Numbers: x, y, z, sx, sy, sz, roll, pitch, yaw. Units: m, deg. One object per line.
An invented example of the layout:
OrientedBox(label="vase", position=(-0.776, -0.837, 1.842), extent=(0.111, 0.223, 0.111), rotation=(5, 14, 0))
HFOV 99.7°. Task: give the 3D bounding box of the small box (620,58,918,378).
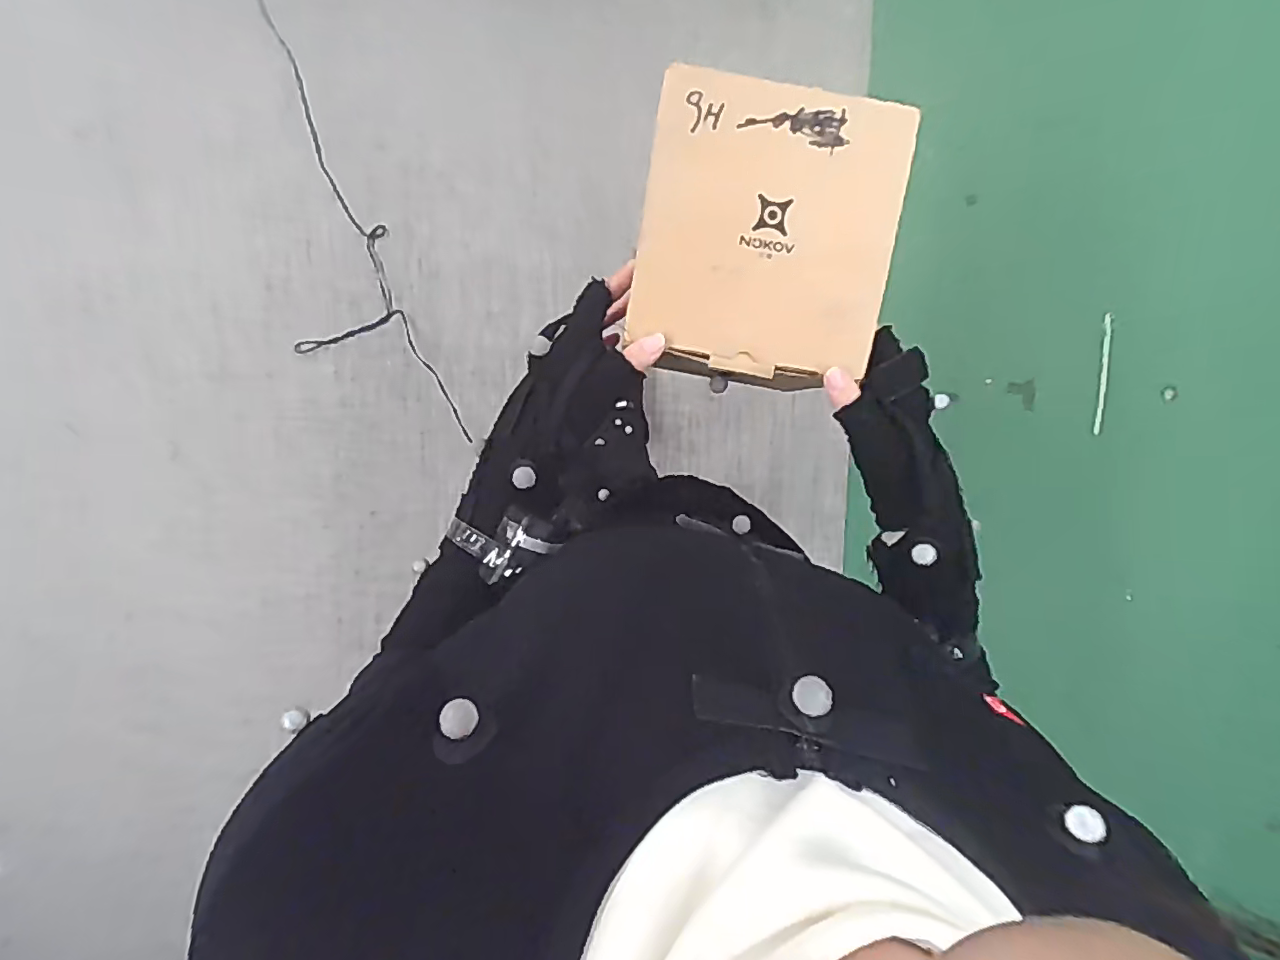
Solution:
OrientedBox(label="small box", position=(0.082, -0.179, 0.429), extent=(0.168, 0.176, 0.179), rotation=(9, 100, 0))
